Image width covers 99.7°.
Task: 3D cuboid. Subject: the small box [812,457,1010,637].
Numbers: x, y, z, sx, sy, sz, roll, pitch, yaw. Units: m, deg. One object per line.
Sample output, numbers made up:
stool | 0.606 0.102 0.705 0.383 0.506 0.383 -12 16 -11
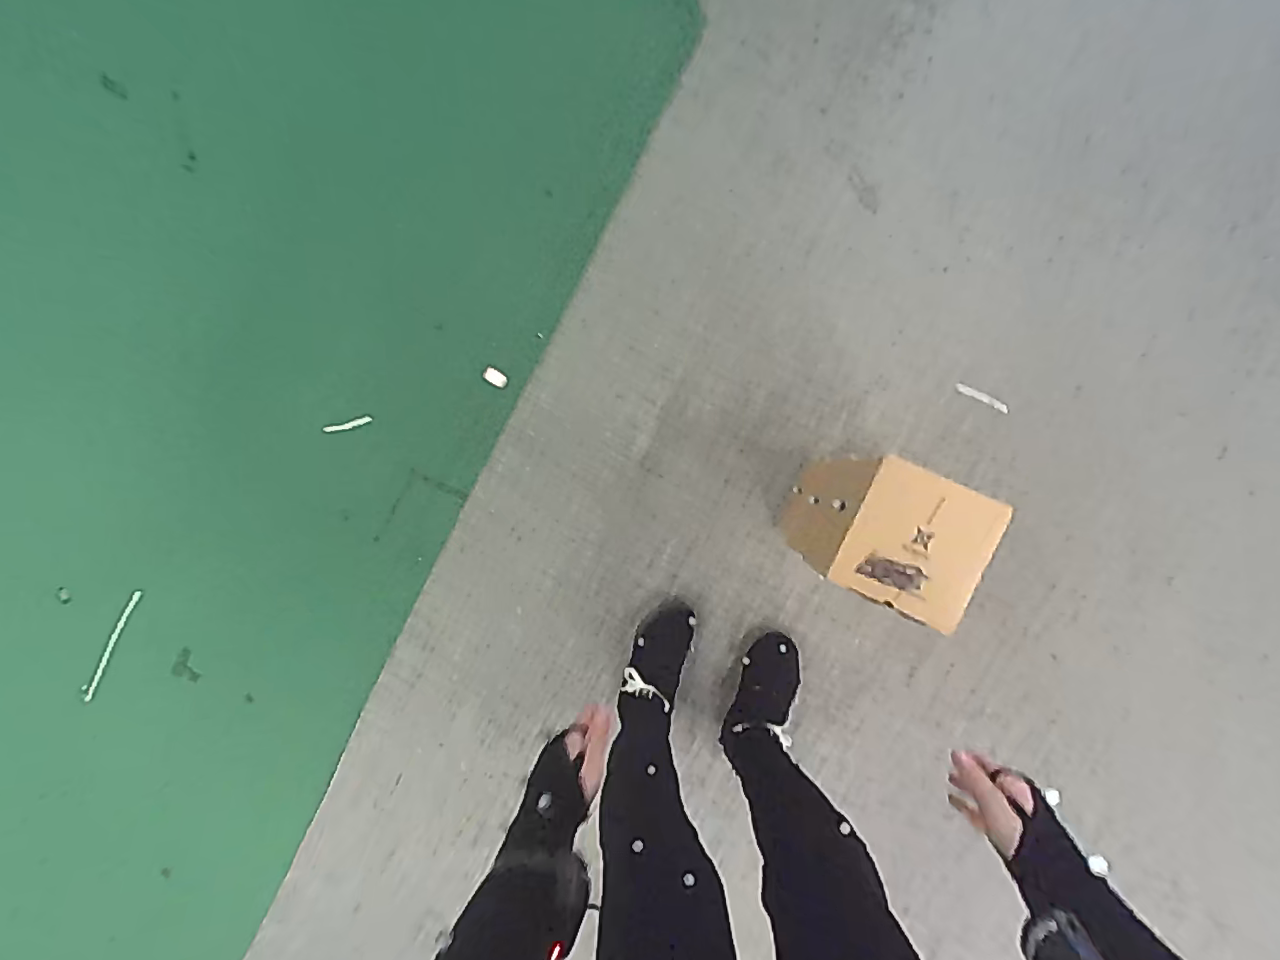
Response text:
small box | 0.355 0.085 0.751 0.168 0.176 0.179 26 91 7

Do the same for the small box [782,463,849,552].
small box | 0.402 0.081 1.076 0.179 0.176 0.168 27 93 6
